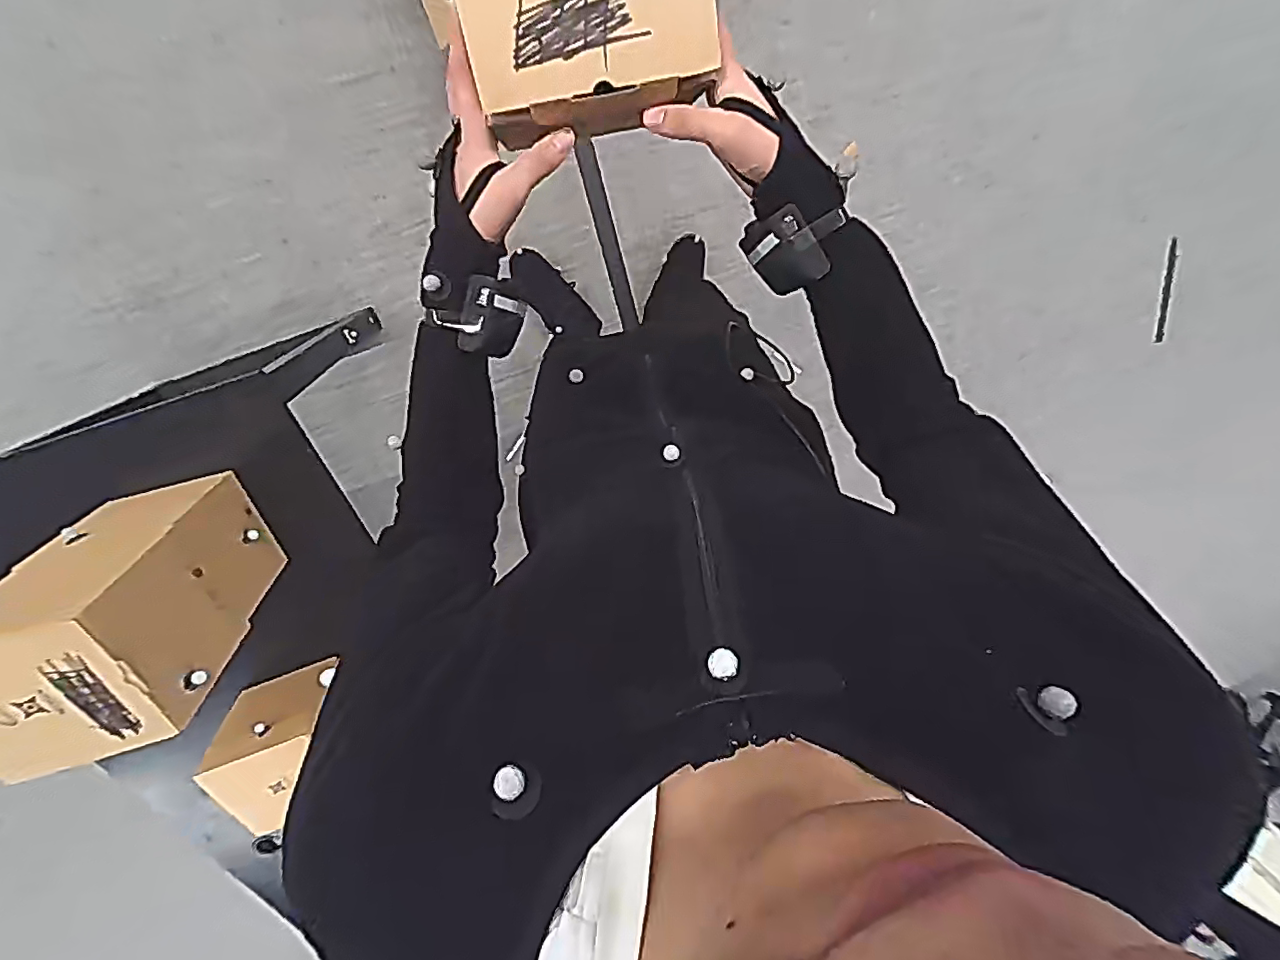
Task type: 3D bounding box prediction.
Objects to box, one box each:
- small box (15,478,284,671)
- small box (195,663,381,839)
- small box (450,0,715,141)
[{"bbox_3d":[-0.632,0.118,0.729,0.179,0.176,0.168,-15,118,-5],"label":"small box"},{"bbox_3d":[-0.565,0.442,0.900,0.179,0.176,0.168,-20,117,-3],"label":"small box"},{"bbox_3d":[-0.050,-0.367,0.398,0.168,0.176,0.179,-12,115,-2],"label":"small box"}]
